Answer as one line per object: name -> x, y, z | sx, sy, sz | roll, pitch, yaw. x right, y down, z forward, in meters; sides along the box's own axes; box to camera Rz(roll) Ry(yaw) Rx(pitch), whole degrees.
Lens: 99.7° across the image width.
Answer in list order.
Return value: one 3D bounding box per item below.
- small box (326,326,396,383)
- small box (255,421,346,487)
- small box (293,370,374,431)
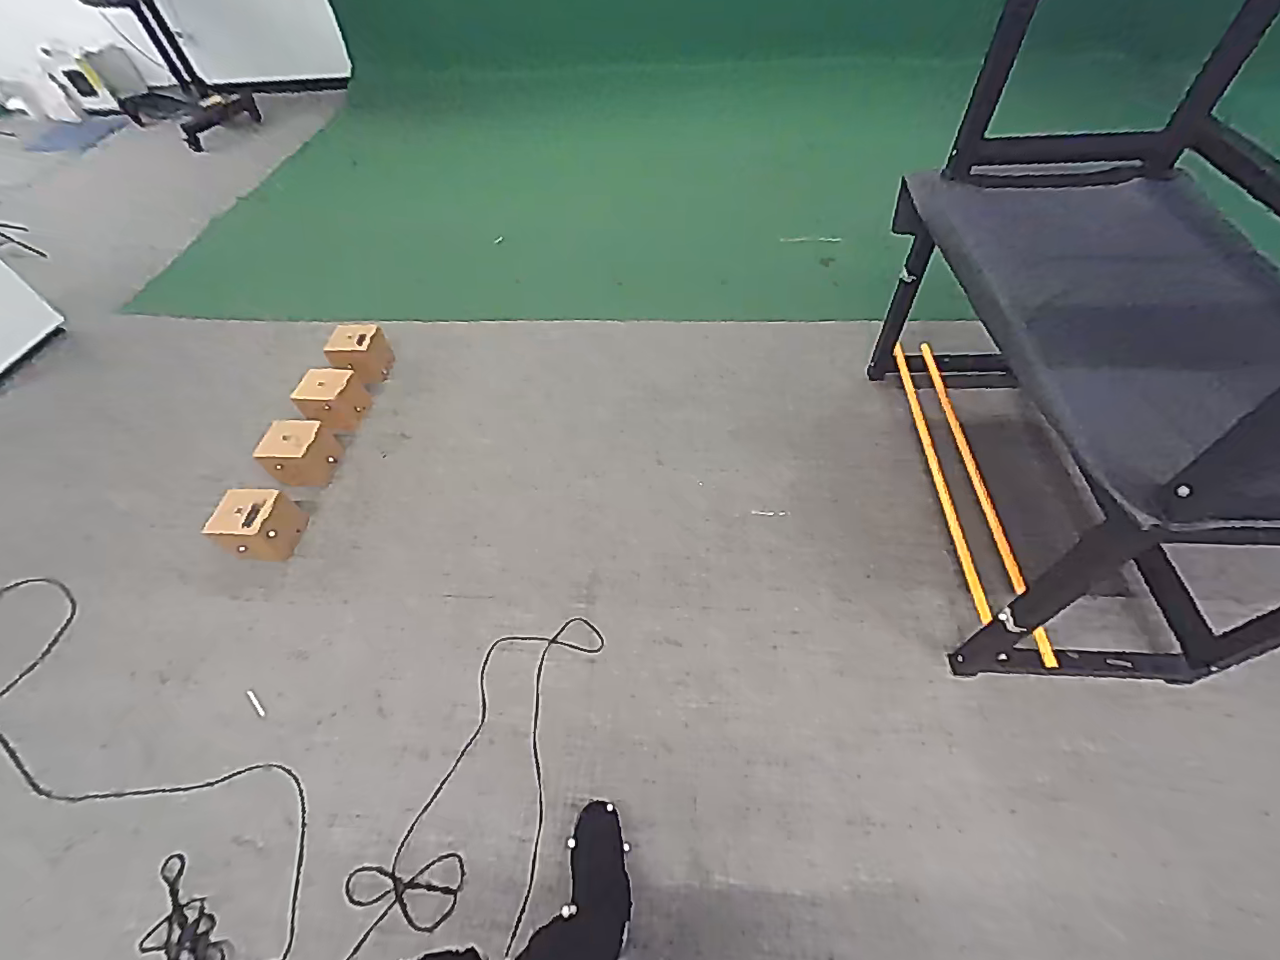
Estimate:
small box -> -1.133, -0.512, 2.212 | 0.179, 0.176, 0.168 | 0, 52, 4
small box -> -1.173, -0.089, 1.883 | 0.179, 0.176, 0.168 | 1, 54, 4
small box -> -1.154, -0.299, 2.049 | 0.179, 0.176, 0.168 | 3, 52, 5
